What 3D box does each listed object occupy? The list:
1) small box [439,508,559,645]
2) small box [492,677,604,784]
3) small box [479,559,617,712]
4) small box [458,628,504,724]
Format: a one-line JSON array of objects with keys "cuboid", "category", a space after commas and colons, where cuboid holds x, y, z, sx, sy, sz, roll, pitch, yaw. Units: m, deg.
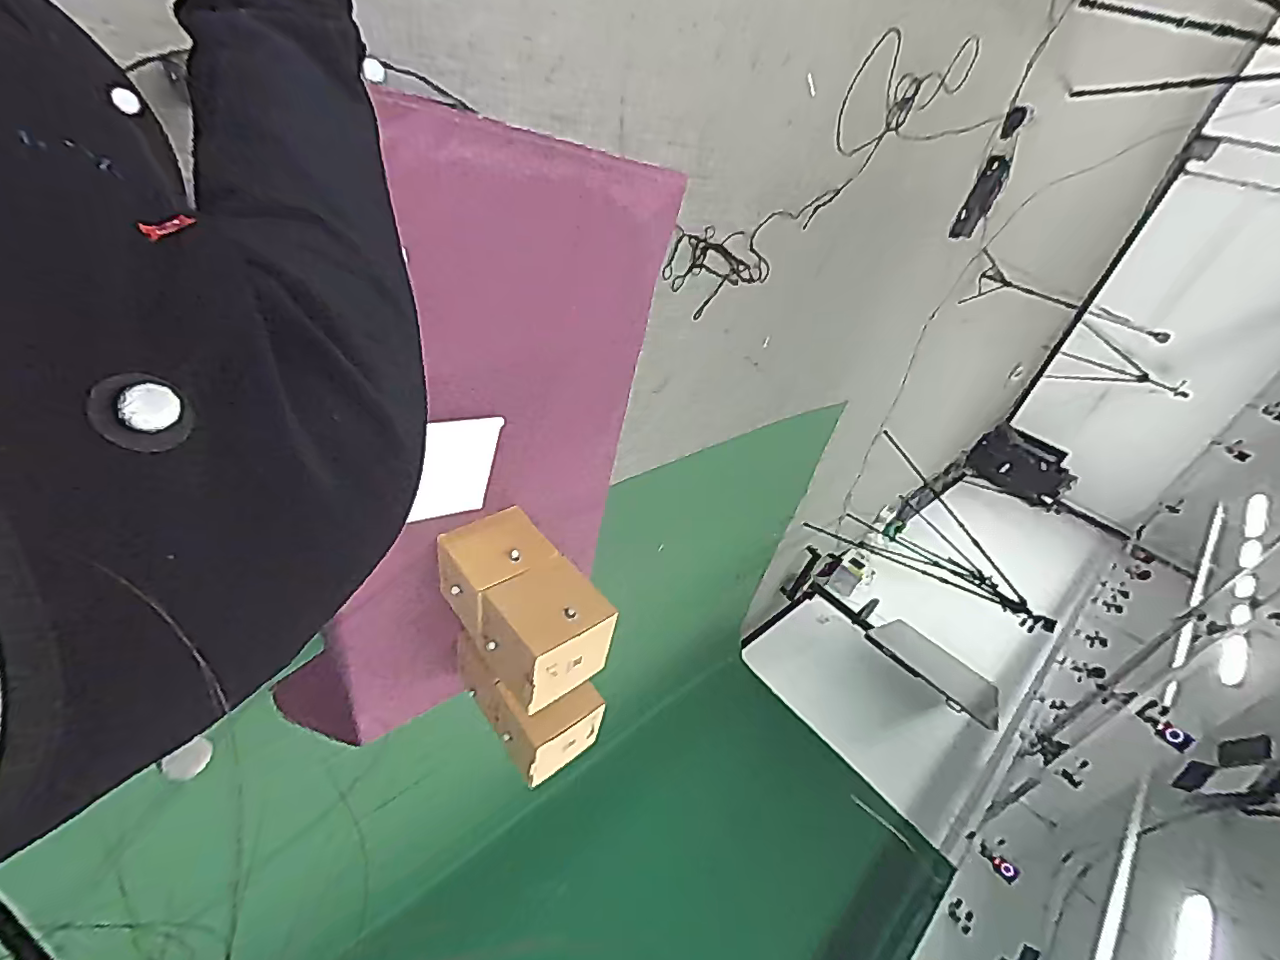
[{"cuboid": [-0.284, 0.183, 1.071, 0.179, 0.176, 0.168, -23, 139, -38], "category": "small box"}, {"cuboid": [-0.207, 0.511, 1.187, 0.179, 0.176, 0.168, -19, 137, -38], "category": "small box"}, {"cuboid": [-0.172, 0.273, 0.989, 0.179, 0.176, 0.168, -20, 137, -40], "category": "small box"}, {"cuboid": [-0.314, 0.426, 1.279, 0.179, 0.176, 0.168, -20, 137, -39], "category": "small box"}]
